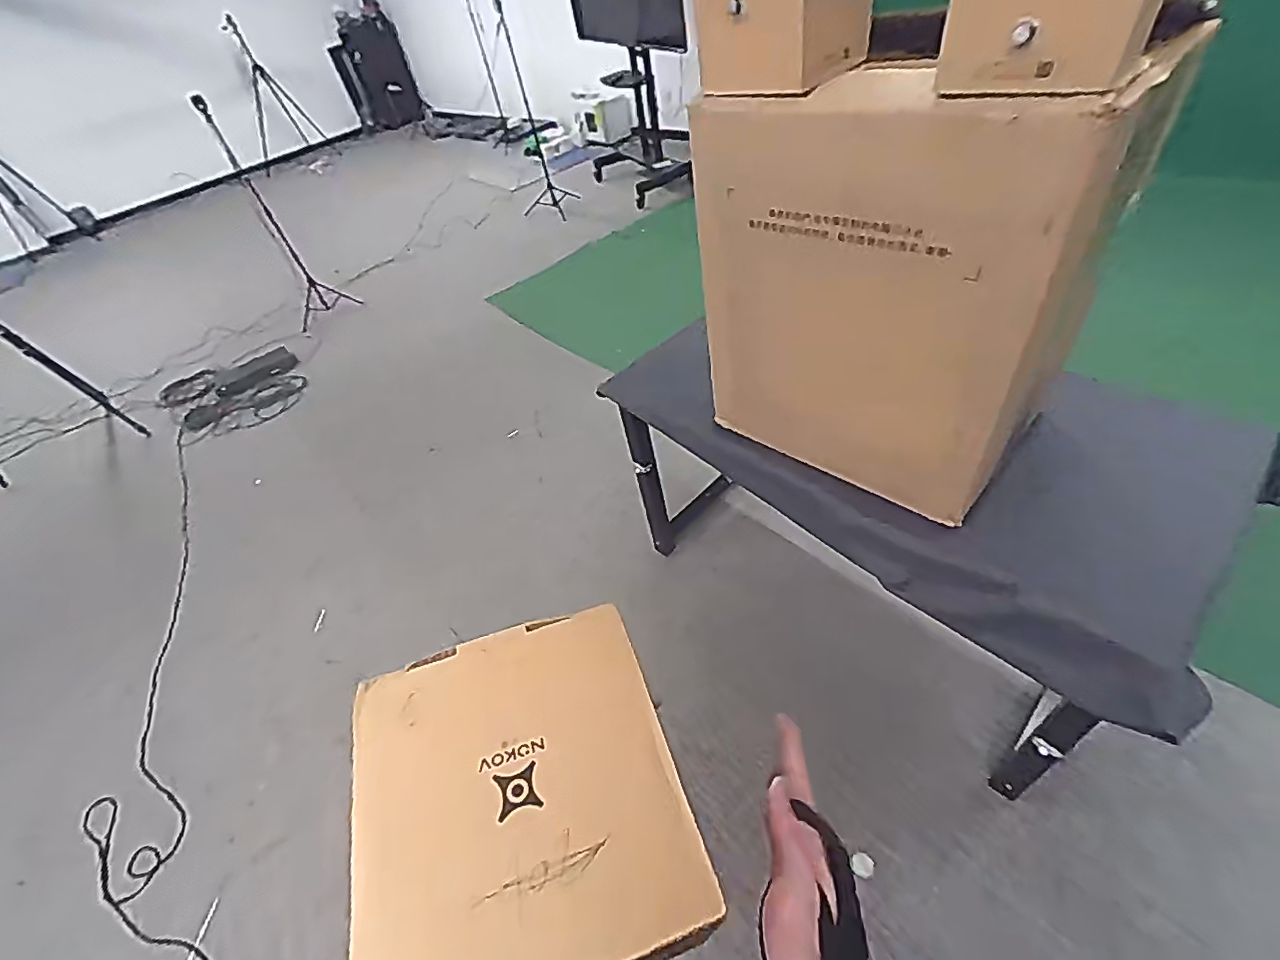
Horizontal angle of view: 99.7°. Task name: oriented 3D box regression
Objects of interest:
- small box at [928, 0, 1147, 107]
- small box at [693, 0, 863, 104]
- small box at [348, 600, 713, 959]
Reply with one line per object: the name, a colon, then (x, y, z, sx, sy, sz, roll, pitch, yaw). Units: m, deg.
small box: (0.421, -0.509, 0.556, 0.168, 0.176, 0.179, 25, 57, 32)
small box: (0.185, -0.636, 0.741, 0.179, 0.176, 0.168, 29, 60, 37)
small box: (-0.067, 0.212, 0.350, 0.168, 0.176, 0.179, -15, 48, -12)
